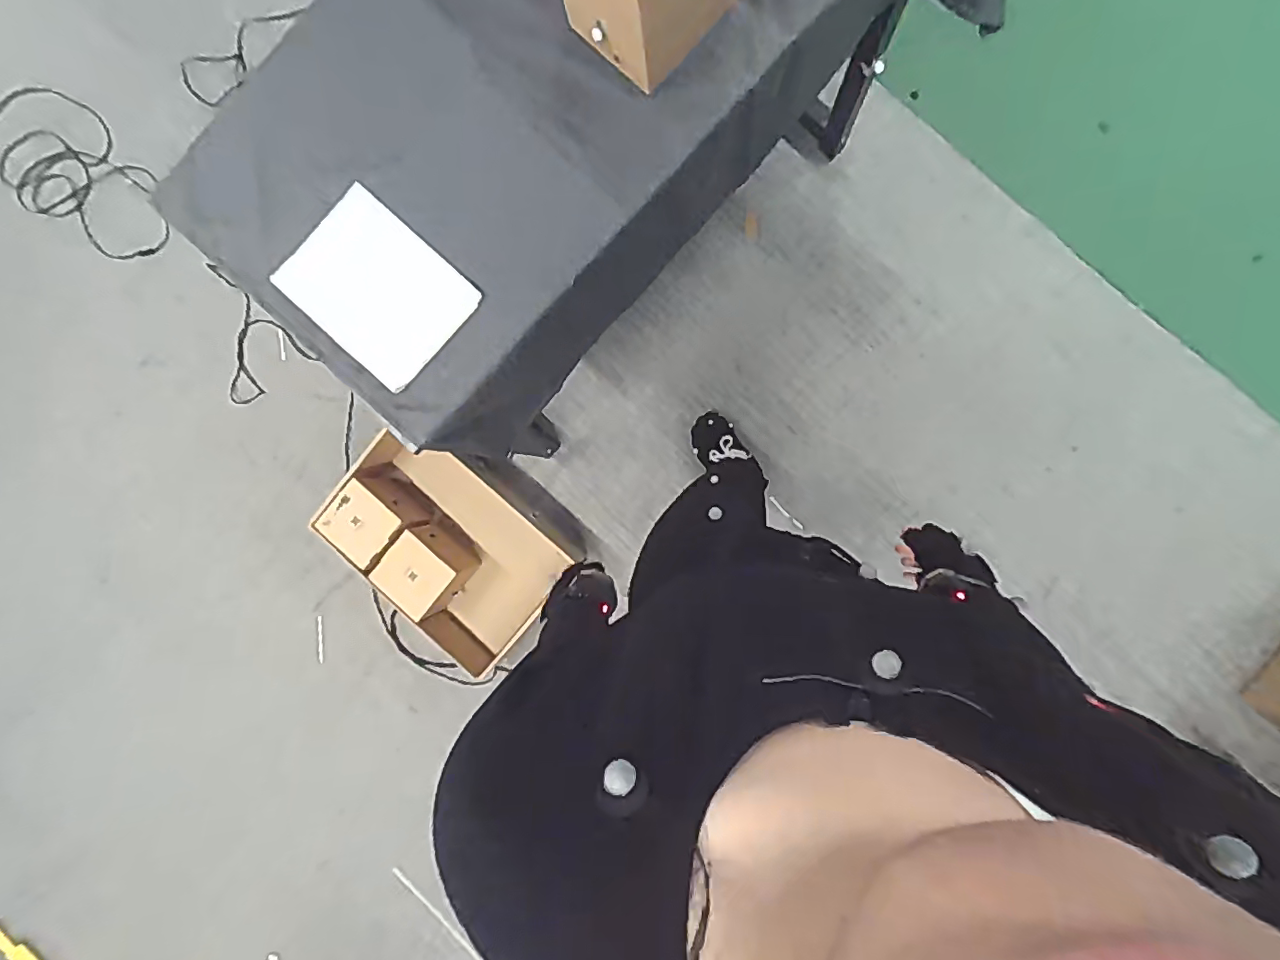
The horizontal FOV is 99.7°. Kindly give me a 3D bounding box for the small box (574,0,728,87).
[{"bbox_3d":[0.011,-0.670,0.689,0.179,0.176,0.168,-45,85,4],"label":"small box"}]
